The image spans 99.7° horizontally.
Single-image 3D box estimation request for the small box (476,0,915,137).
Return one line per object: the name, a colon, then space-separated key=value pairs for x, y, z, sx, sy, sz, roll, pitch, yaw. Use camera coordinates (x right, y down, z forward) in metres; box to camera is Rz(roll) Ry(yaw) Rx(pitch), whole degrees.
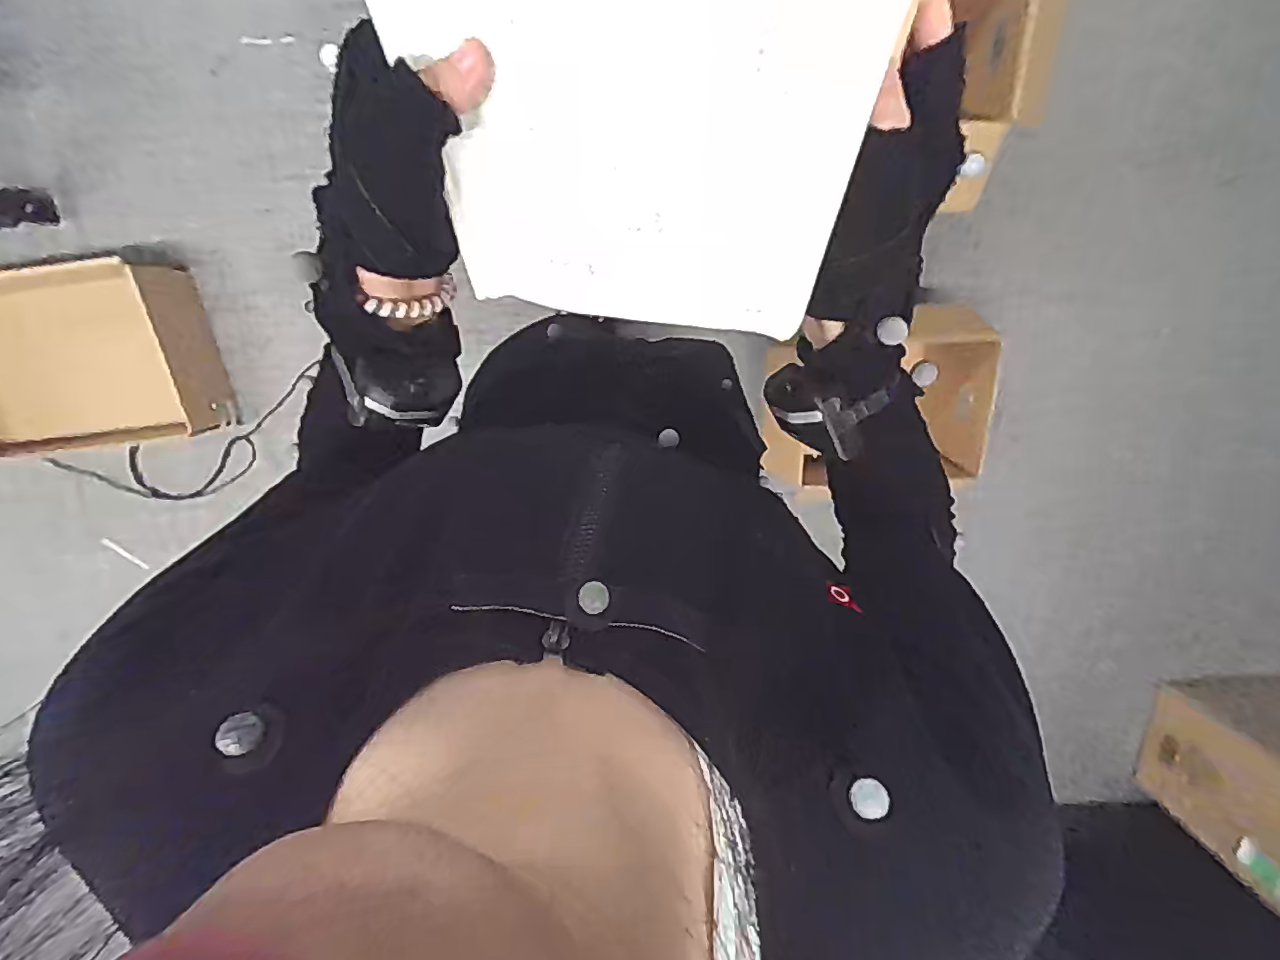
small box: x=0.032 y=-0.280 z=0.243 sx=0.179 sy=0.176 sz=0.168 roll=7 pitch=134 yaw=-4
